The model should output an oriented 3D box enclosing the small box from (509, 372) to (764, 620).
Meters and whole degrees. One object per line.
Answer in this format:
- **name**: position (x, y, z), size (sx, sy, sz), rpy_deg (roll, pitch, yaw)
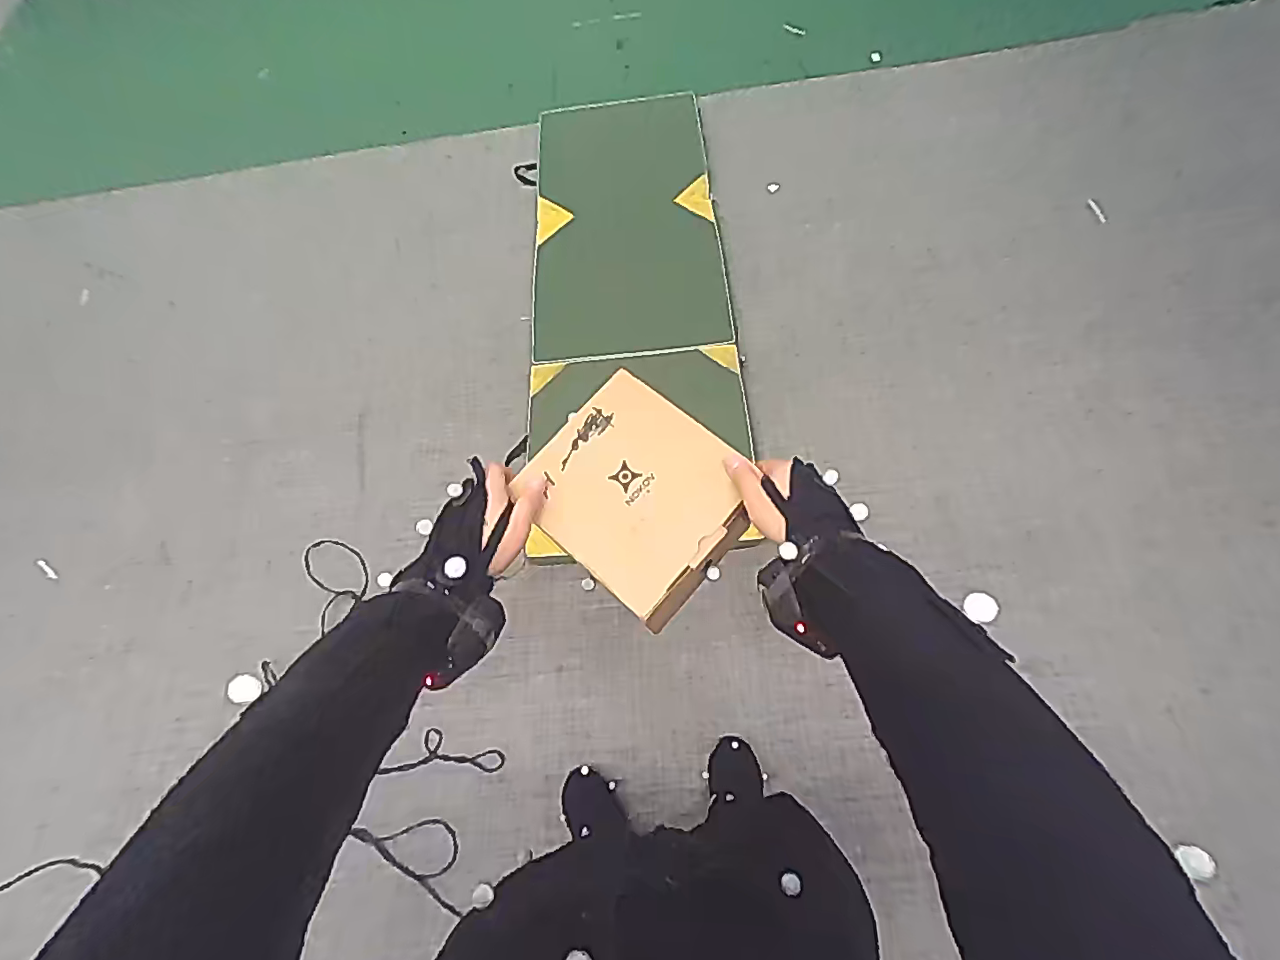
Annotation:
- **small box**: position (0.003, 0.029, 0.563), size (0.179, 0.176, 0.168), rpy_deg (39, 77, 17)
